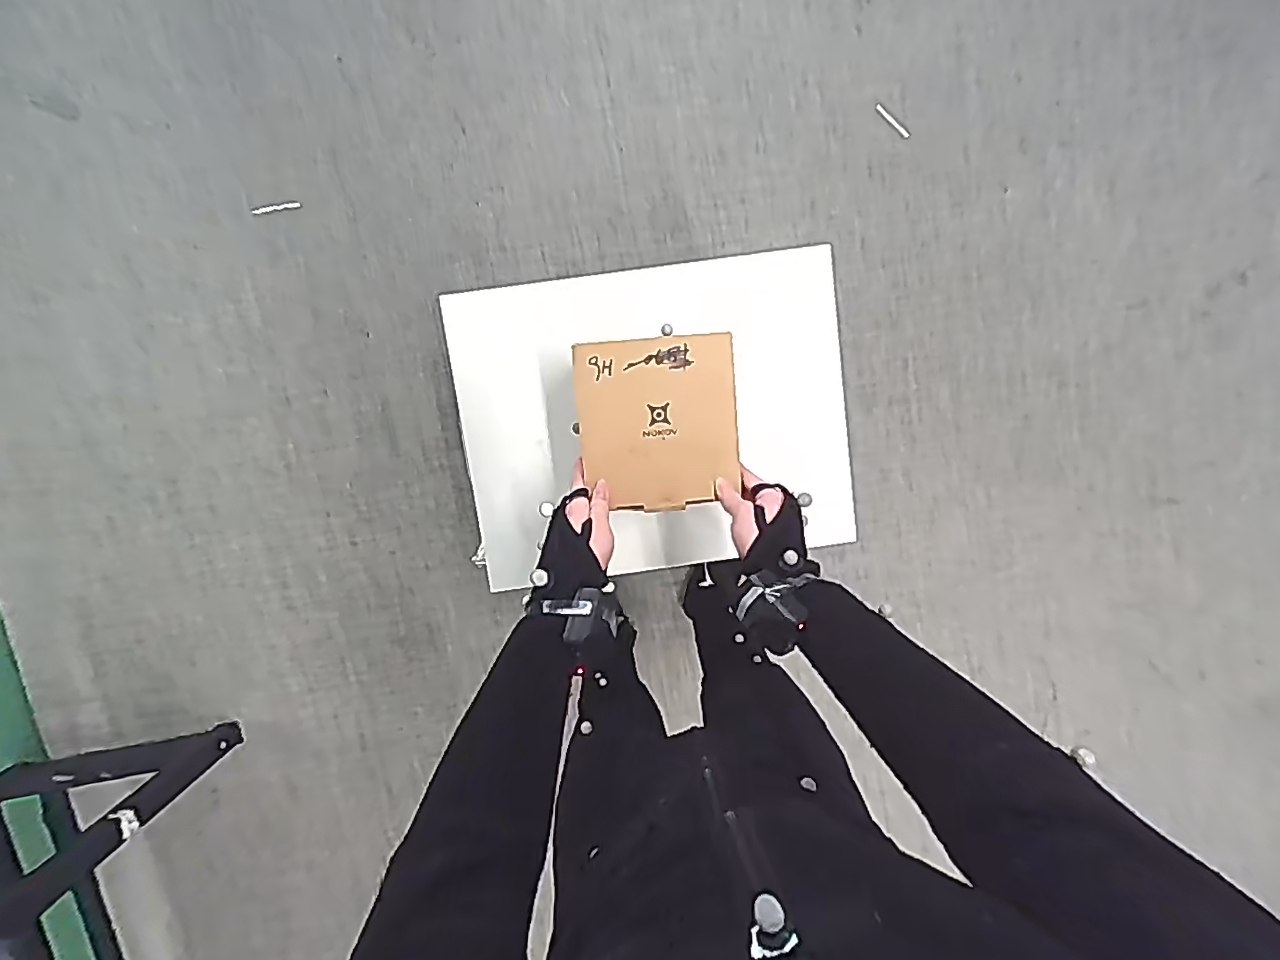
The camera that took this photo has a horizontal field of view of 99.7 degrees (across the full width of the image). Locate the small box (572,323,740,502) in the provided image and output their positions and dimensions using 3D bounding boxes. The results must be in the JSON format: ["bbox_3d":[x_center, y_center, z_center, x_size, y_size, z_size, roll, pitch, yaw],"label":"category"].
[{"bbox_3d":[0.018,-0.079,0.647,0.168,0.176,0.179,-7,96,-1],"label":"small box"}]
